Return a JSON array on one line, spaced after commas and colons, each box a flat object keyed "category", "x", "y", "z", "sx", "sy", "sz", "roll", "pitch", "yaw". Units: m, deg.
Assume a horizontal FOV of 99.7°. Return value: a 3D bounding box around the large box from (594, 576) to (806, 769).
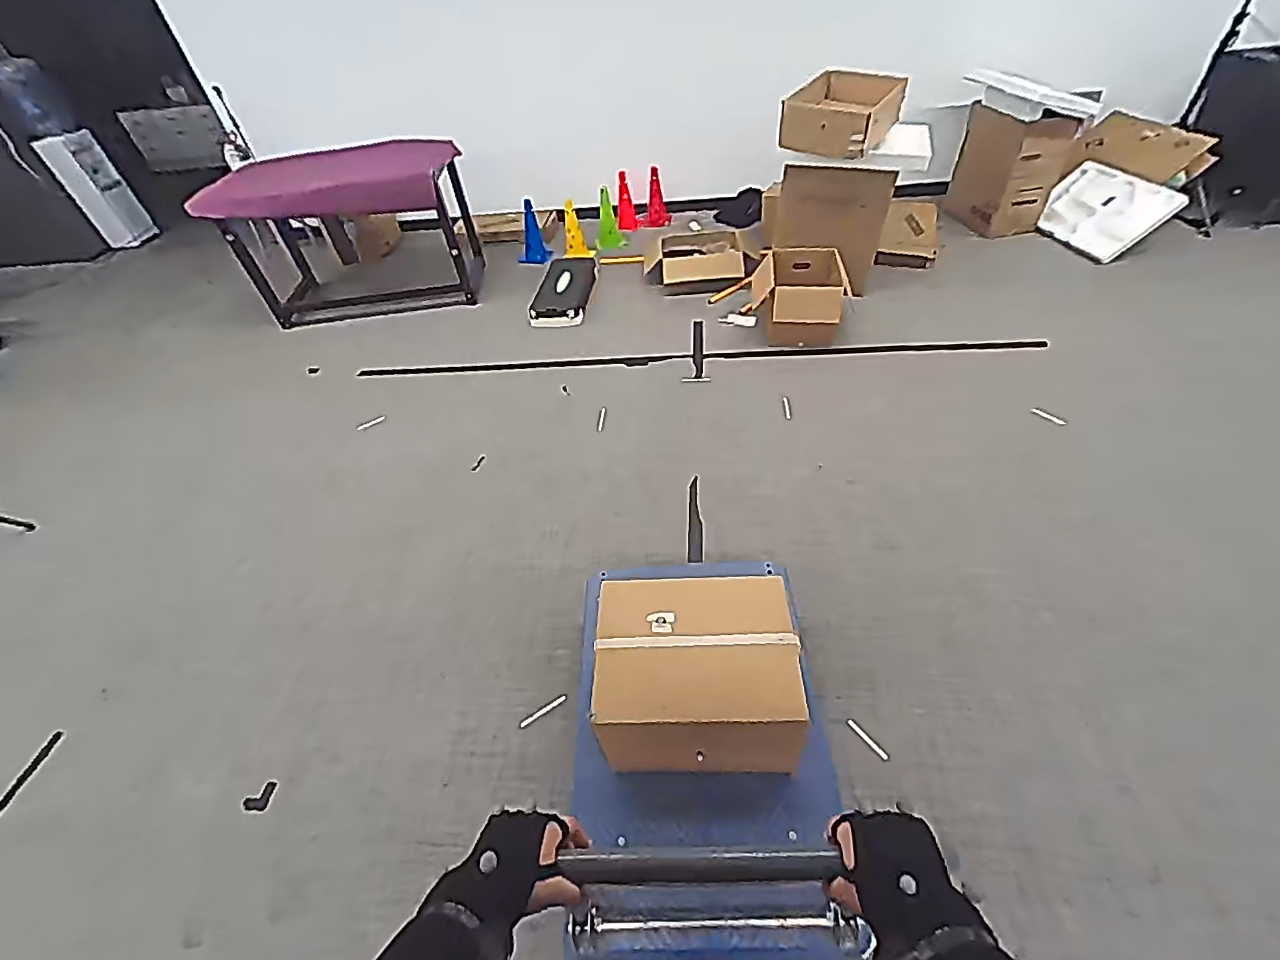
[{"category": "large box", "x": 0.127, "y": 0.439, "z": 1.218, "sx": 0.408, "sy": 0.320, "sz": 0.320, "roll": -4, "pitch": 45, "yaw": 5}]
